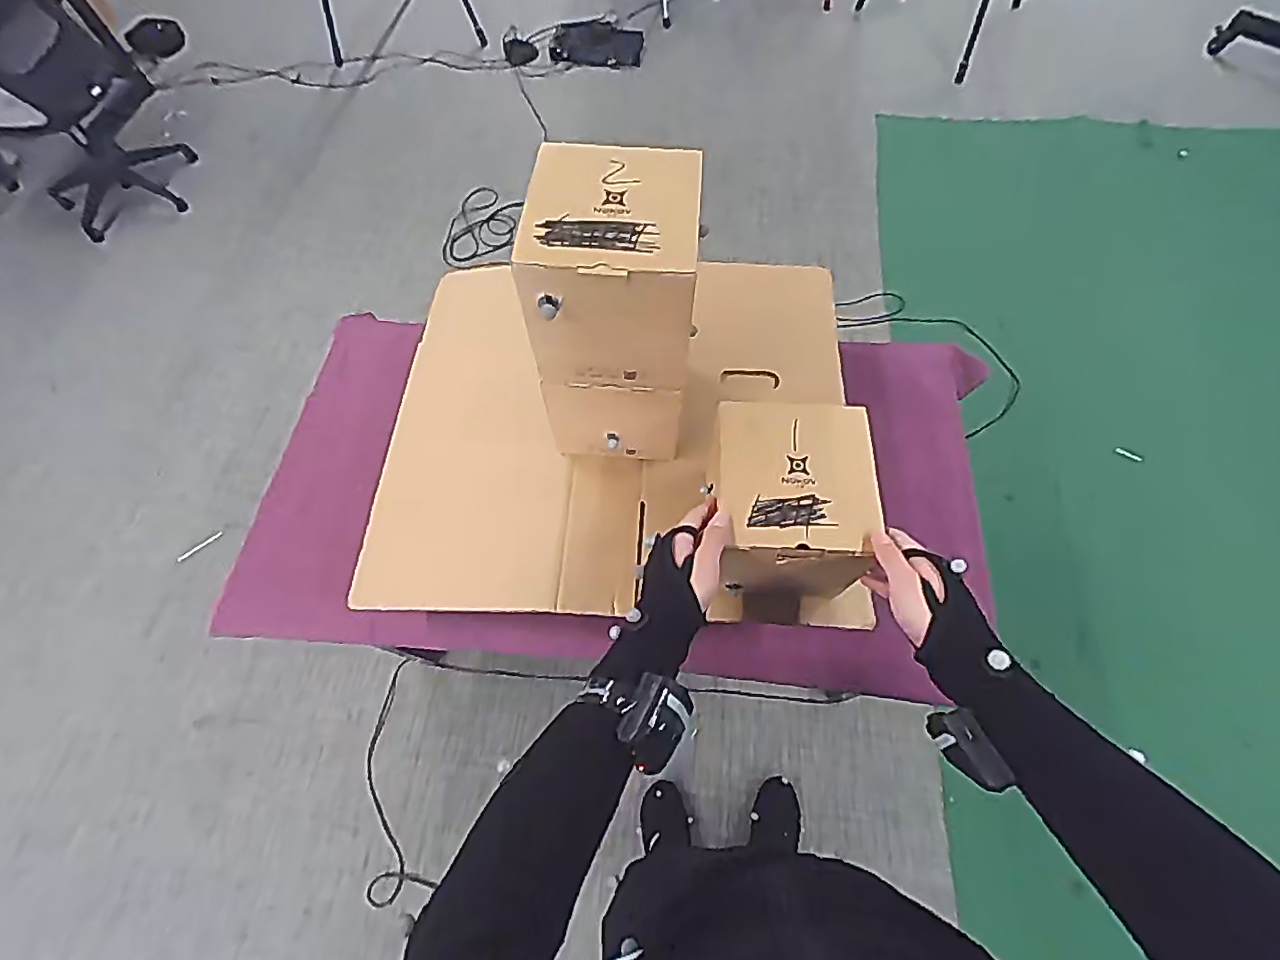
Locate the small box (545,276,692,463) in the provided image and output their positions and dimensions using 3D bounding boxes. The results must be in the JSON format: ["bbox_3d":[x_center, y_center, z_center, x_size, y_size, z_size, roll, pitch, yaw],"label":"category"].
[{"bbox_3d":[-0.023,-0.142,0.723,0.168,0.176,0.179,4,65,2],"label":"small box"}]

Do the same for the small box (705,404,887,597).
[{"bbox_3d":[0.167,0.031,0.635,0.168,0.176,0.179,3,63,2],"label":"small box"}]
